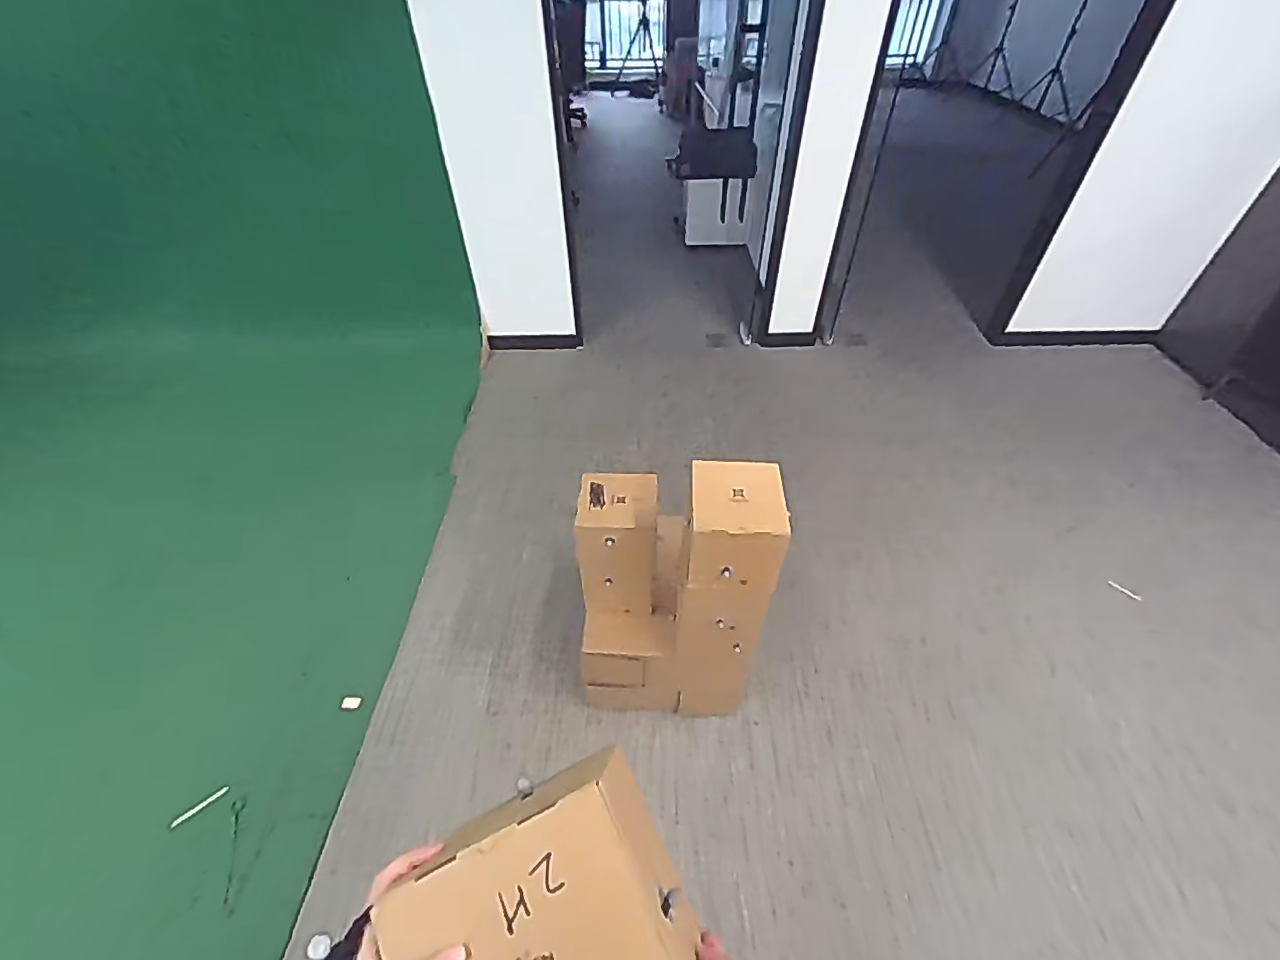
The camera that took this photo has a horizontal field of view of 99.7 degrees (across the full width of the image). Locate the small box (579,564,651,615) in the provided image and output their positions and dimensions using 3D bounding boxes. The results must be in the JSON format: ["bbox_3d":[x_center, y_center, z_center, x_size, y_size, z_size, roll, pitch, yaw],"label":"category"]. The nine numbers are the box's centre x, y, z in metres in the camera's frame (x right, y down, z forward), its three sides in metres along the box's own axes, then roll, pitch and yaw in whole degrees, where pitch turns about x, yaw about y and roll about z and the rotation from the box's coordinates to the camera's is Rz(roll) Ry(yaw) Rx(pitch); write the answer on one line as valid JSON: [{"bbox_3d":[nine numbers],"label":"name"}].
[{"bbox_3d":[-0.056,0.214,1.352,0.168,0.176,0.179,1,43,2],"label":"small box"}]

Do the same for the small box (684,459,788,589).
[{"bbox_3d":[0.170,0.081,1.018,0.168,0.176,0.179,2,45,2],"label":"small box"}]

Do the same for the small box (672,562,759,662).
[{"bbox_3d":[0.166,0.308,1.254,0.179,0.176,0.168,0,44,1],"label":"small box"}]

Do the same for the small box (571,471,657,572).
[{"bbox_3d":[-0.052,0.097,1.234,0.179,0.176,0.168,0,44,2],"label":"small box"}]
